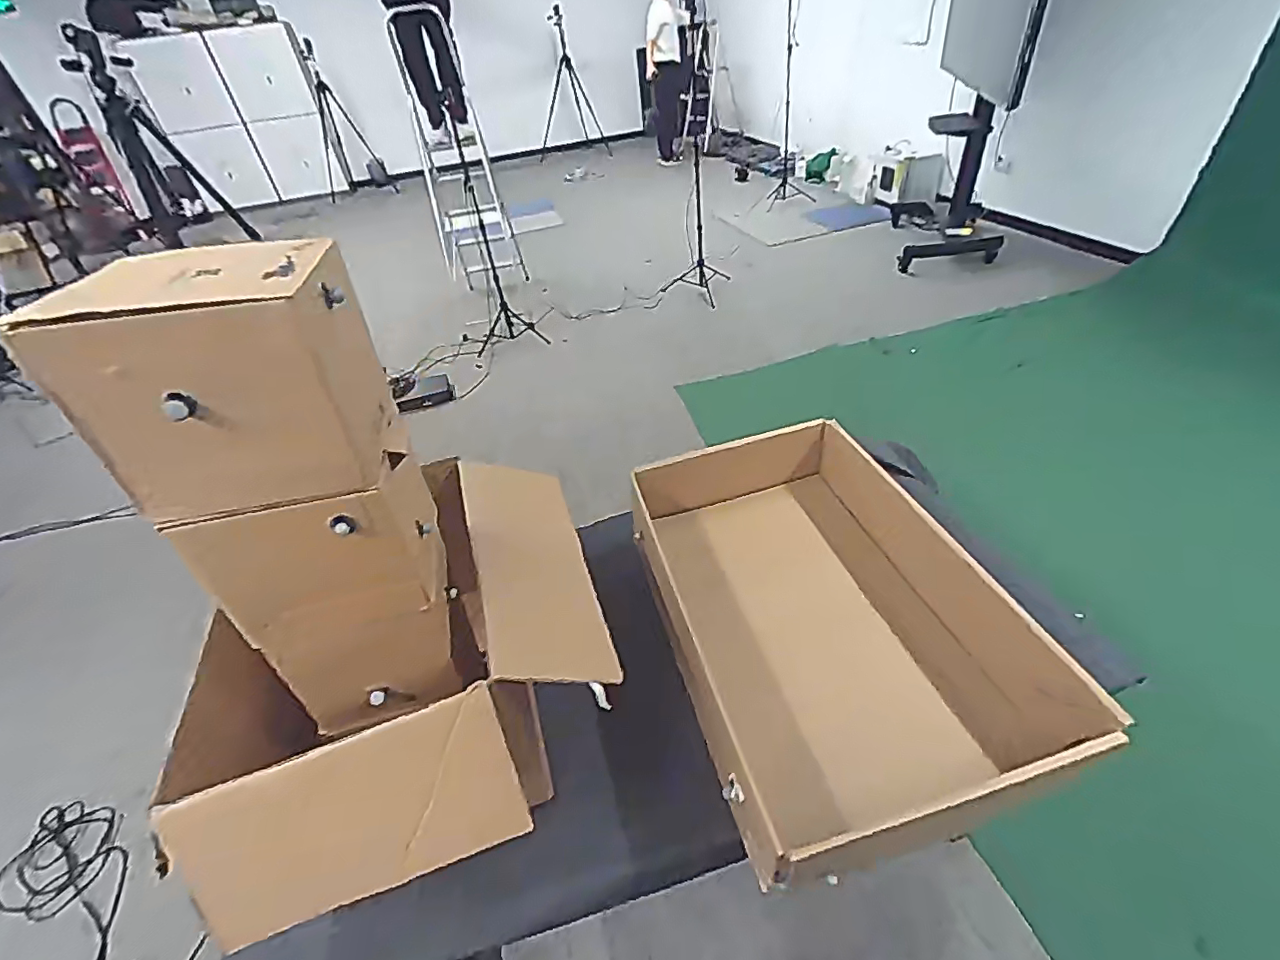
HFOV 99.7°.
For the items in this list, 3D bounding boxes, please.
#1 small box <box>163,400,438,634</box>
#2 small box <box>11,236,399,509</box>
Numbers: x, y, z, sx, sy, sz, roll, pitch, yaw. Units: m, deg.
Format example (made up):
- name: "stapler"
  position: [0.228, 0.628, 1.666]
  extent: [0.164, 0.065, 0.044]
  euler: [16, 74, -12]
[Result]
- name: "small box"
  position: [-0.325, 0.036, 0.565]
  extent: [0.179, 0.176, 0.168]
  euler: [-11, 40, -12]
- name: "small box"
  position: [-0.331, -0.094, 0.465]
  extent: [0.179, 0.176, 0.168]
  euler: [-10, 40, -10]
